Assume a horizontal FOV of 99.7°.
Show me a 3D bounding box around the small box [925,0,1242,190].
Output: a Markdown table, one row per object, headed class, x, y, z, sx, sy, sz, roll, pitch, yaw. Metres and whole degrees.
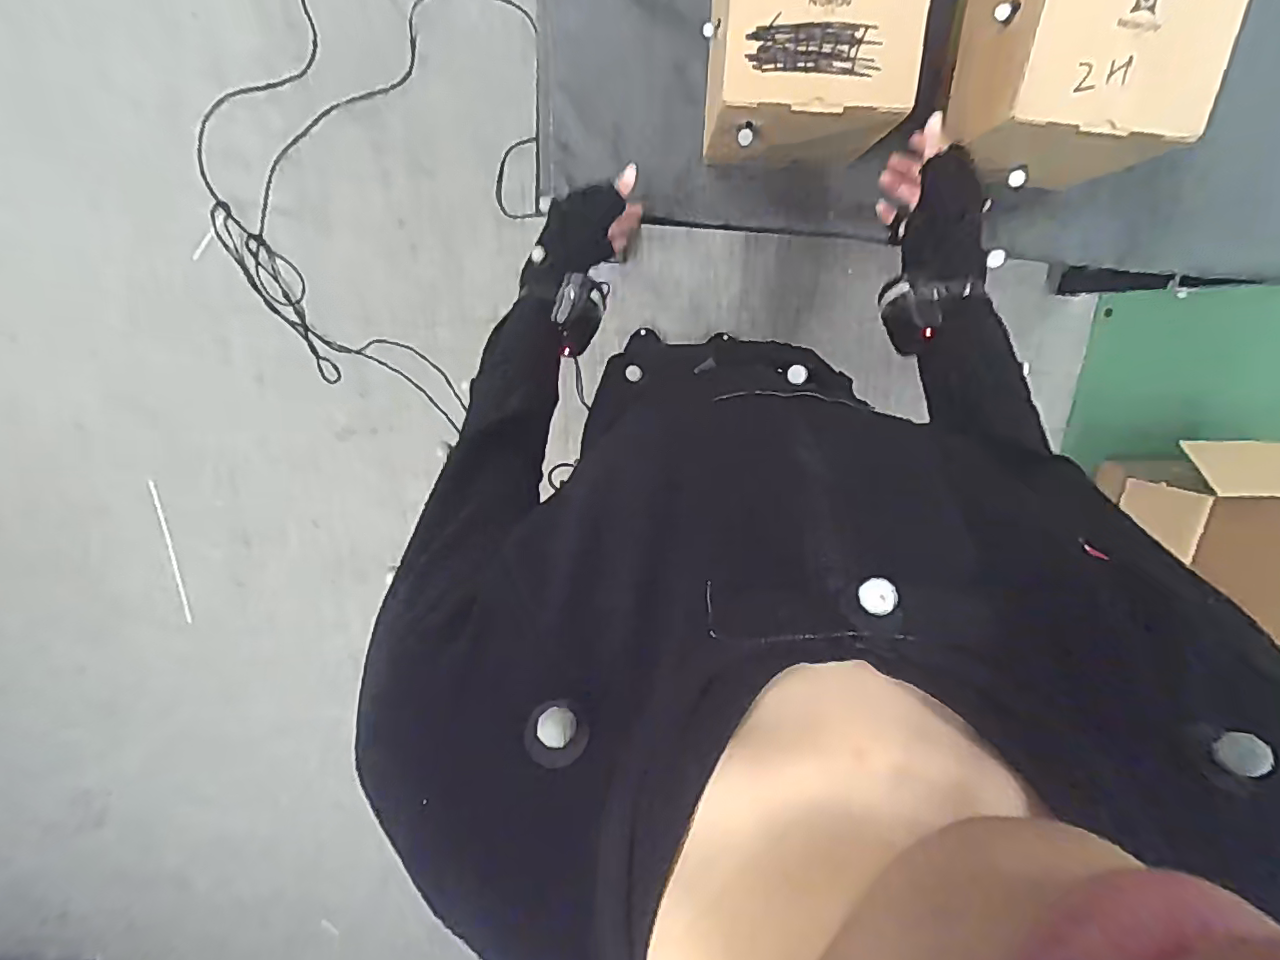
| class | x | y | z | sx | sy | sz | roll | pitch | yaw |
| --- | --- | --- | --- | --- | --- | --- | --- | --- | --- |
| small box | 0.408 | -0.404 | 0.522 | 0.168 | 0.176 | 0.179 | 6 | 106 | -1 |
